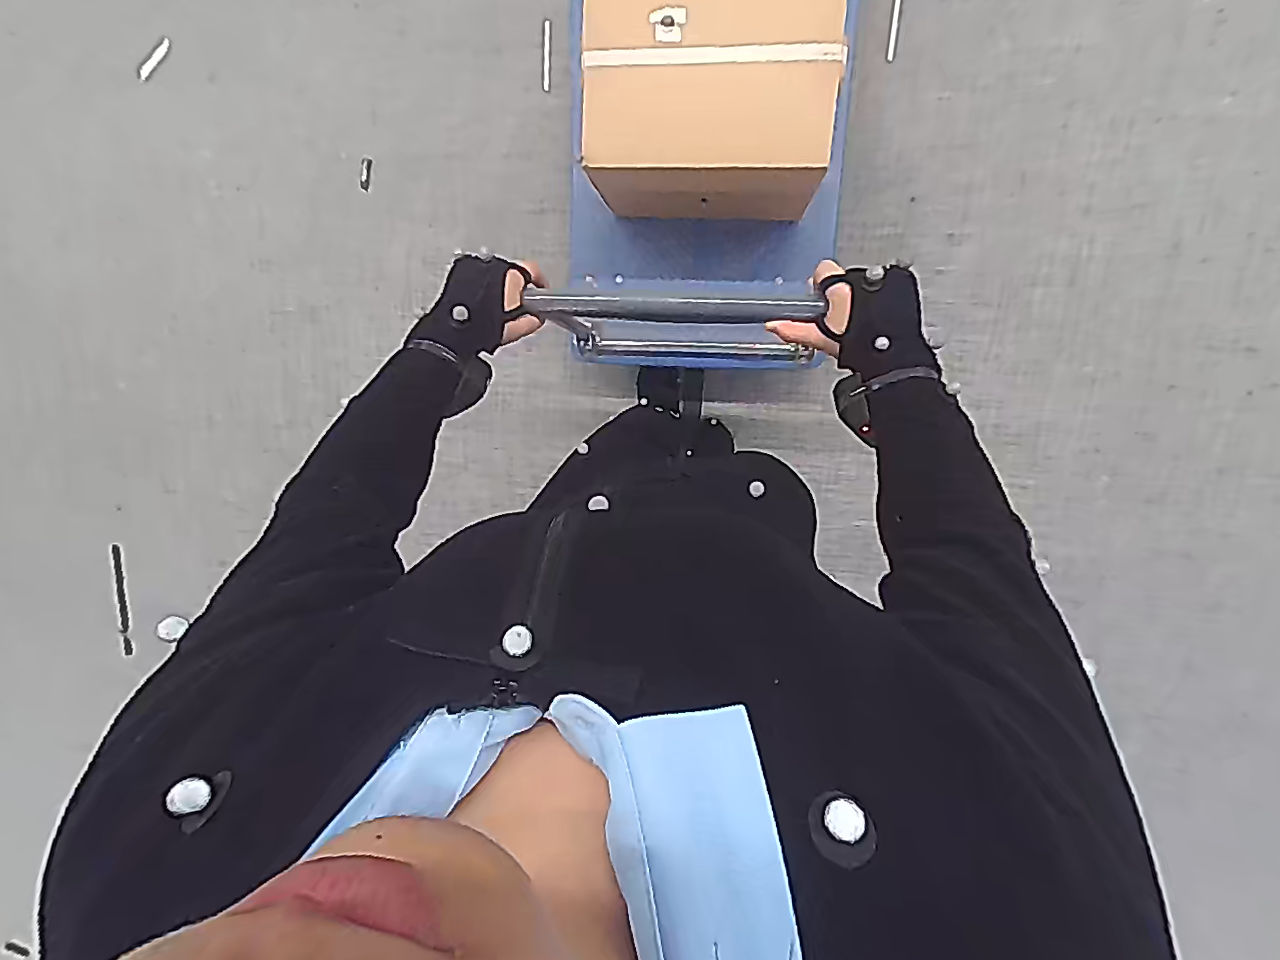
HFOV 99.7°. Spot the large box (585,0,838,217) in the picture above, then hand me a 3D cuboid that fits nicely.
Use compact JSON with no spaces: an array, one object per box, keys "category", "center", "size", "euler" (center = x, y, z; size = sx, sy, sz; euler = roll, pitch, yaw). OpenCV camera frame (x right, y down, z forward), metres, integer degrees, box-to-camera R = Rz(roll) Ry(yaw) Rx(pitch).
[{"category":"large box","center":[0.130,-0.697,1.015],"size":[0.408,0.320,0.320],"euler":[4,101,8]}]
